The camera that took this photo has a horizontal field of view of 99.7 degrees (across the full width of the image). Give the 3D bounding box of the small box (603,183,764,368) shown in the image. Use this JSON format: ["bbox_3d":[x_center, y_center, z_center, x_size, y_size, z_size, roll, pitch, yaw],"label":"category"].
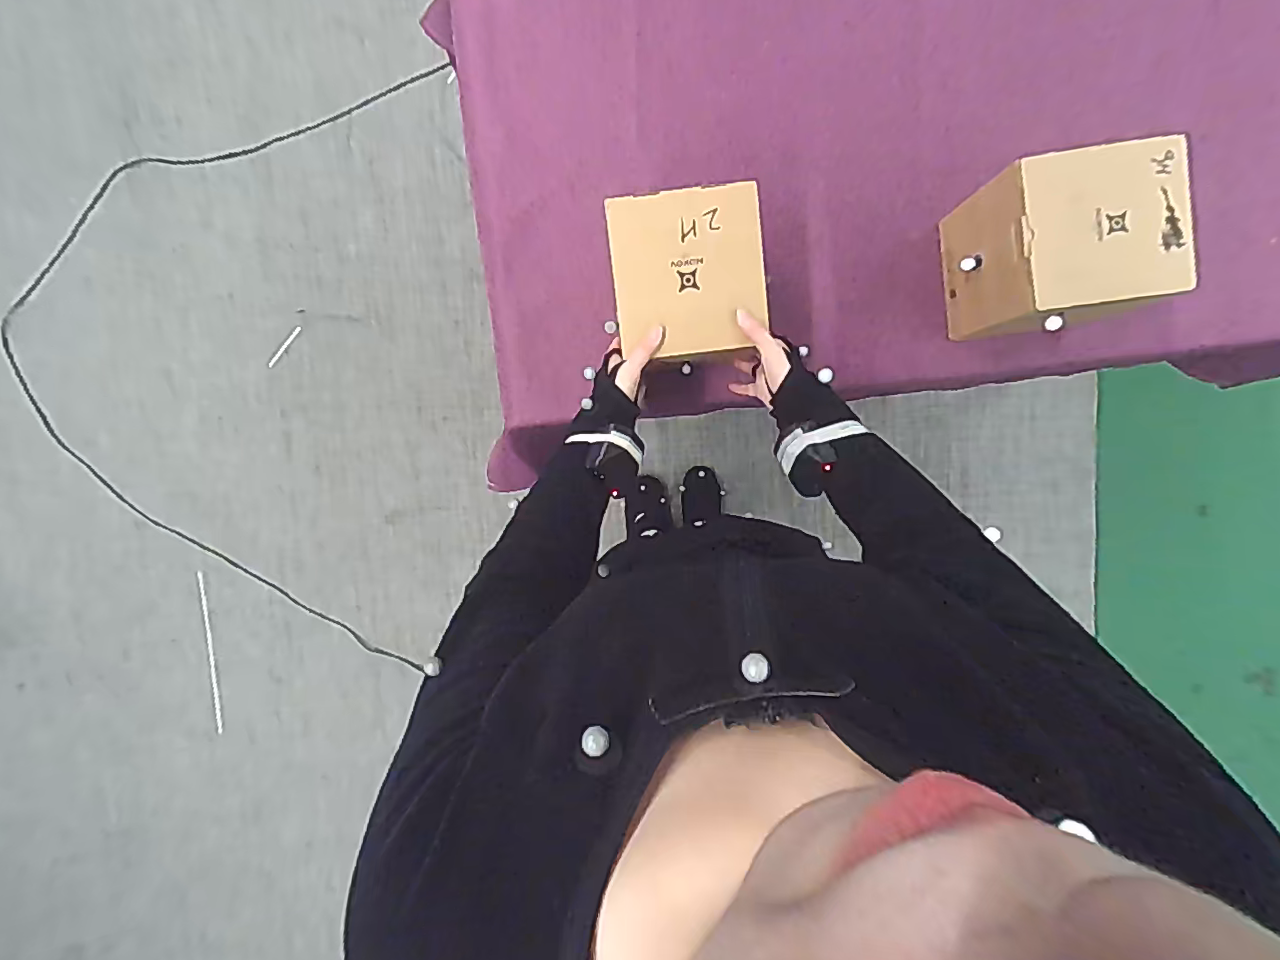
[{"bbox_3d":[0.050,-0.234,0.665,0.168,0.176,0.179,-6,97,1],"label":"small box"}]

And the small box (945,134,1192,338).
[{"bbox_3d":[0.495,-0.277,0.655,0.179,0.176,0.168,-7,93,3],"label":"small box"}]
